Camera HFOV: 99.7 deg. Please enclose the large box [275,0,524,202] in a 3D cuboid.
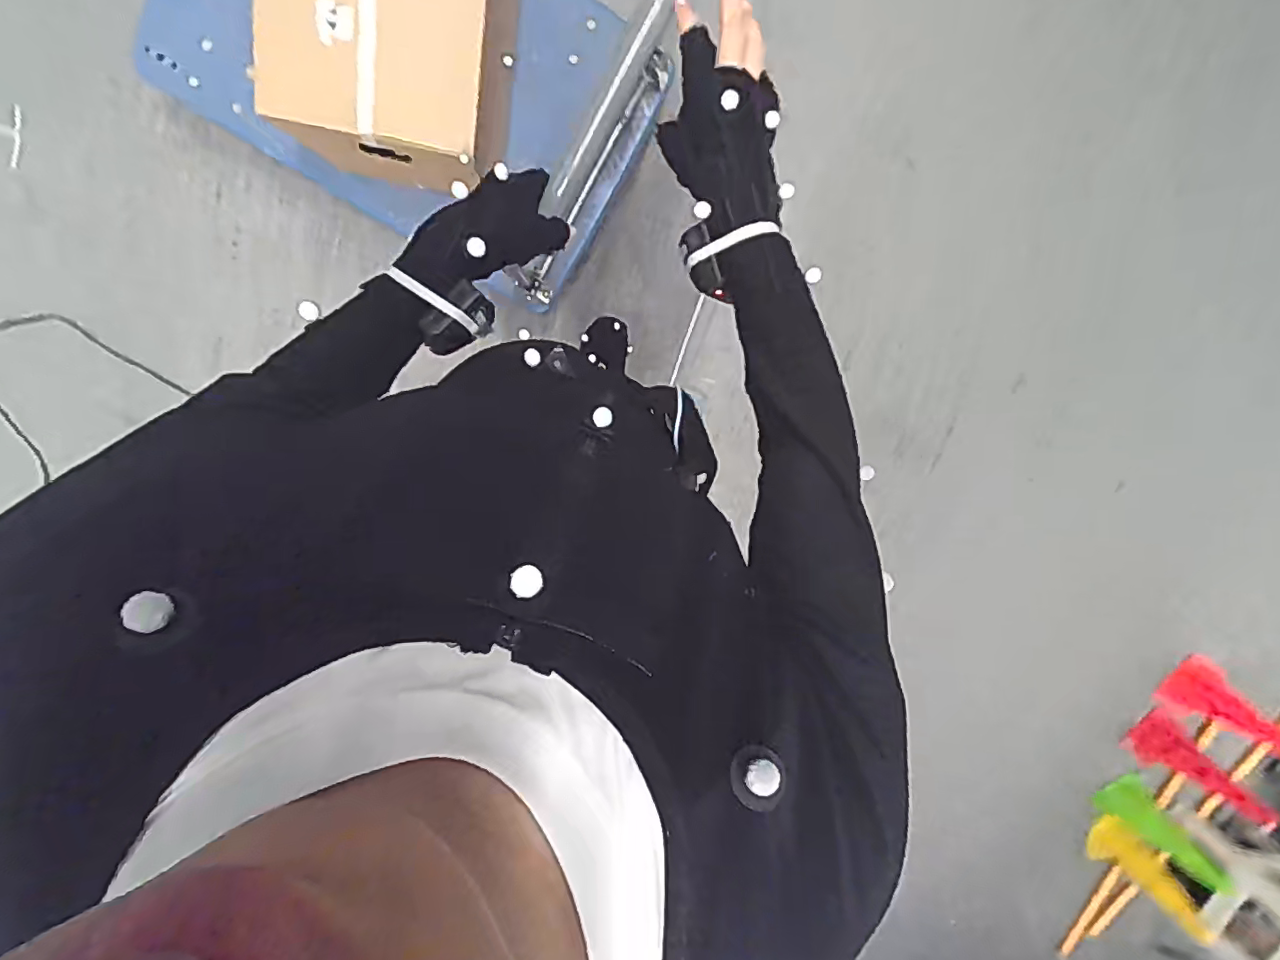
[{"bbox_3d":[-0.379,-0.749,0.919,0.320,0.320,0.408,8,105,-8],"label":"large box"}]
